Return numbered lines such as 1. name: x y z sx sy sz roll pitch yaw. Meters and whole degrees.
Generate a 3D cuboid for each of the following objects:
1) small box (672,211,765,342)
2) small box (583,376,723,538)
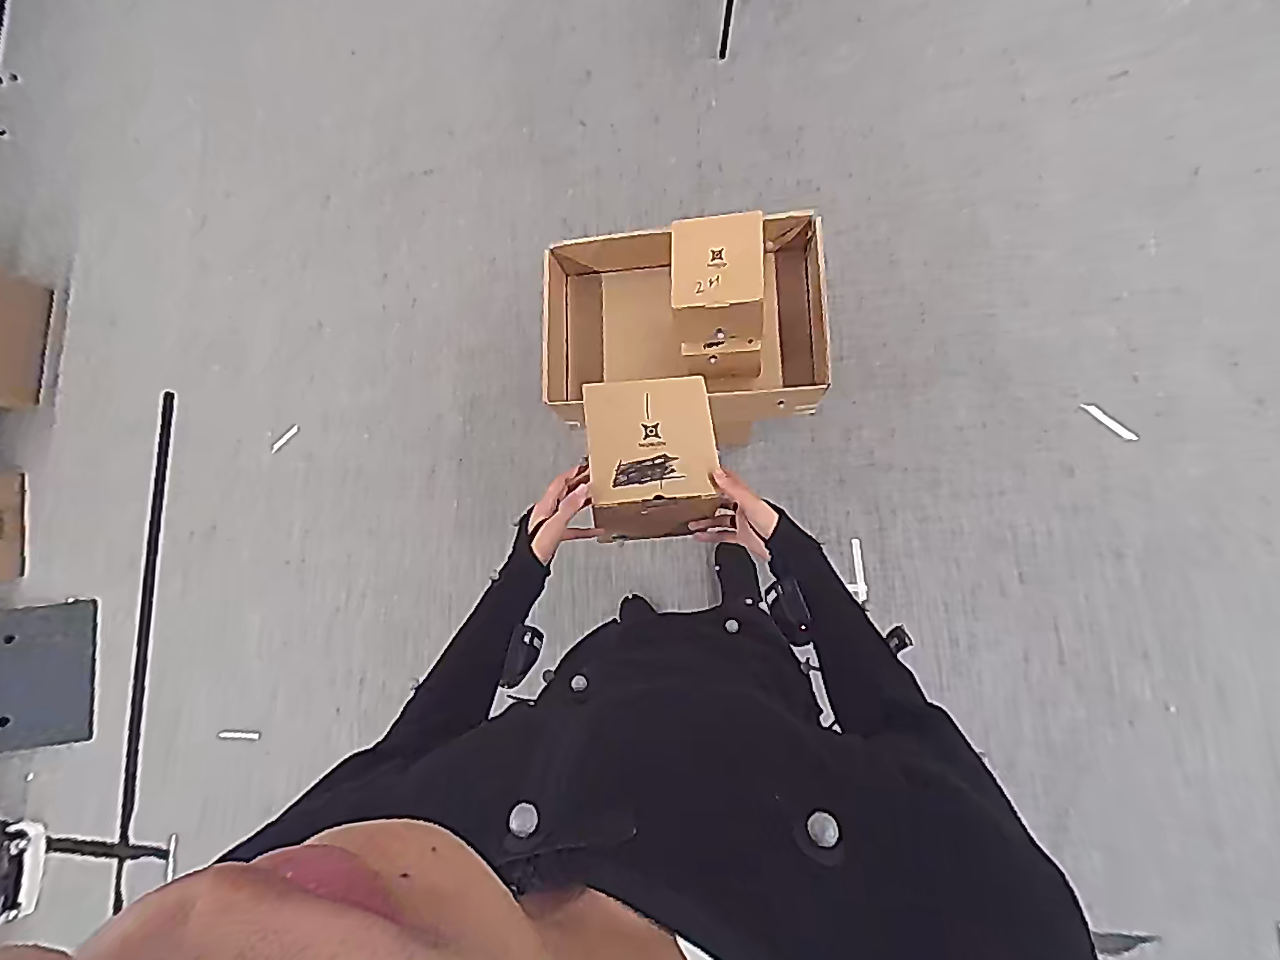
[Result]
1. small box: 0.155 -0.383 1.043 0.168 0.176 0.179 -1 82 12
2. small box: 0.011 -0.023 0.762 0.168 0.176 0.179 -5 67 -5
